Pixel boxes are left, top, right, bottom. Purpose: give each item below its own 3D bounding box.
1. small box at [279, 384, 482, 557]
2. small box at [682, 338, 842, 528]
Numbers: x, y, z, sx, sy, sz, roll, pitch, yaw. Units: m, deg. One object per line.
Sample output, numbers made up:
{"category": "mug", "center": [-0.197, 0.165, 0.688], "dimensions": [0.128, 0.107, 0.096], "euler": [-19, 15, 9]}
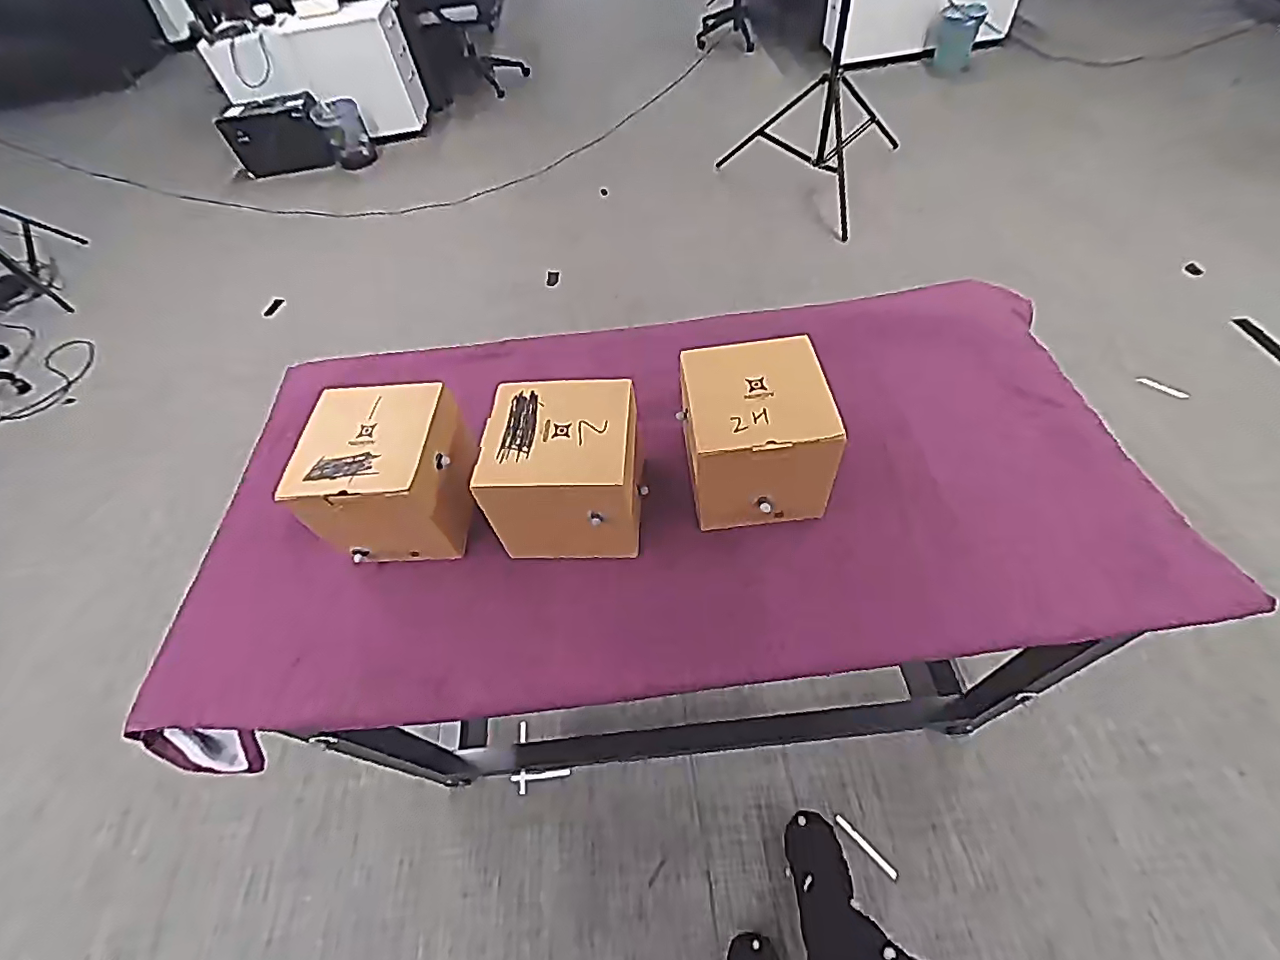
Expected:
{"category": "small box", "center": [-0.329, -0.005, 0.731], "dimensions": [0.168, 0.176, 0.179], "euler": [-3, 54, 5]}
{"category": "small box", "center": [0.145, -0.059, 0.711], "dimensions": [0.168, 0.176, 0.179], "euler": [-7, 53, 3]}
